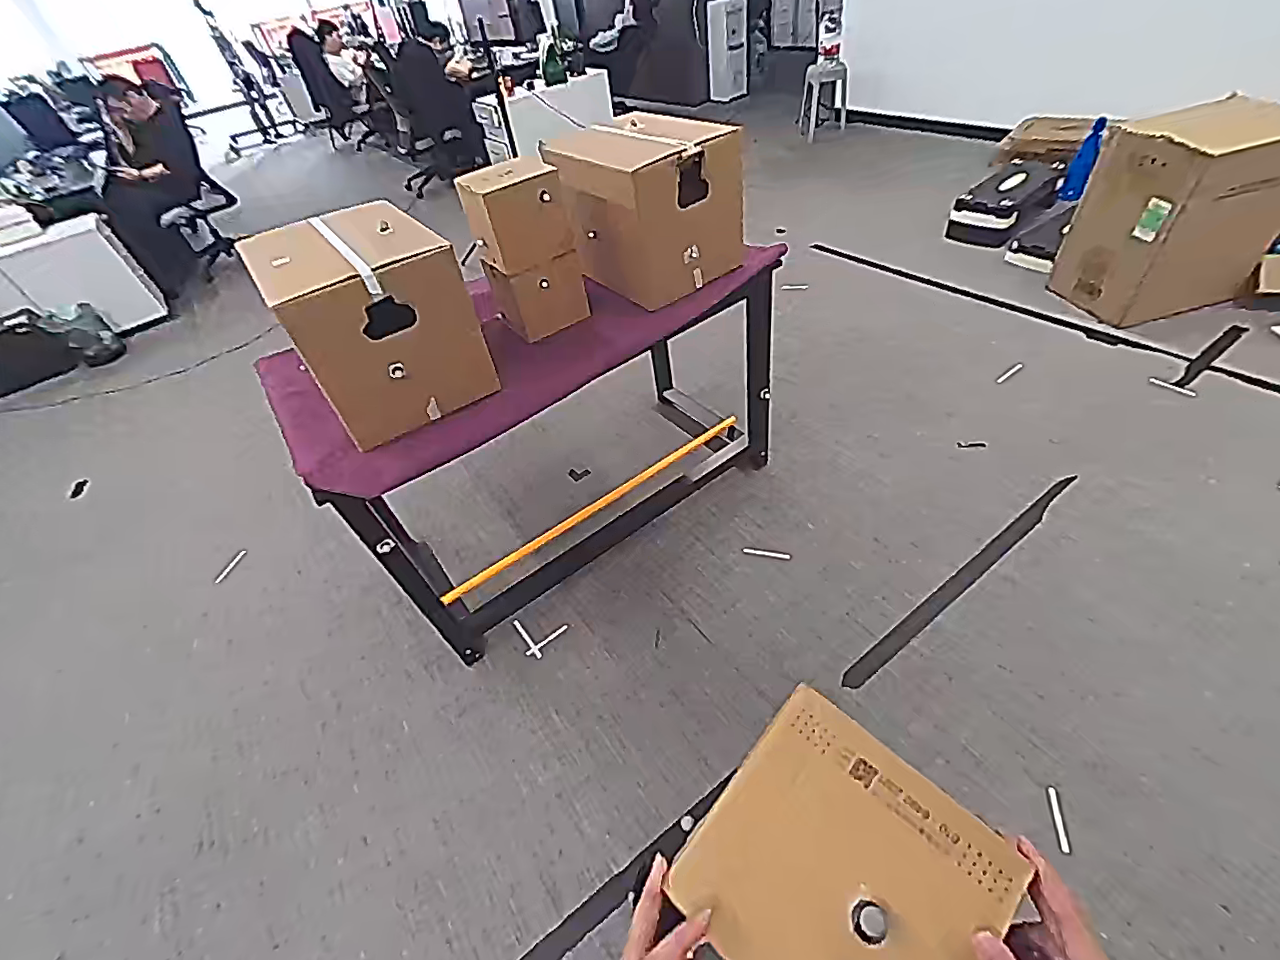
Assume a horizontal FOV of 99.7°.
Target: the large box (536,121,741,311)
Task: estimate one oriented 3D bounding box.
[{"bbox_3d":[0.005,-0.675,1.363,0.320,0.320,0.408,-32,47,-21],"label":"large box"}]
